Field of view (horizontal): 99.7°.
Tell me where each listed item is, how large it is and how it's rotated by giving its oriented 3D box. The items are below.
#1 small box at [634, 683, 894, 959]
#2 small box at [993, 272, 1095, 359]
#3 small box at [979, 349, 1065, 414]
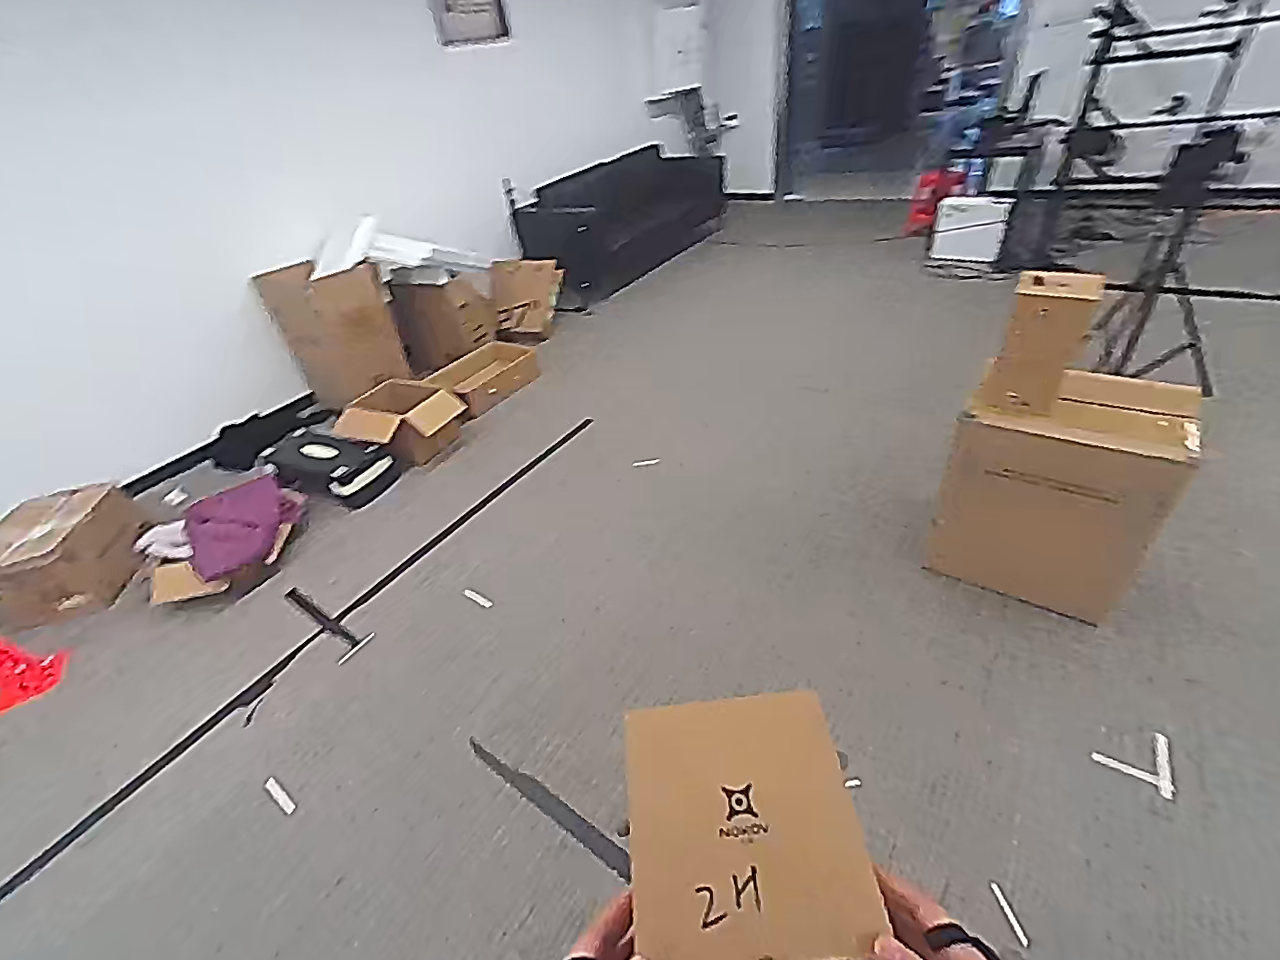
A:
[{"bbox_3d":[0.086,0.299,0.458,0.168,0.176,0.179,-7,43,3],"label":"small box"},{"bbox_3d":[1.069,-0.439,1.437,0.179,0.176,0.168,19,47,31],"label":"small box"},{"bbox_3d":[1.092,-0.313,1.542,0.168,0.176,0.179,18,48,32],"label":"small box"}]
